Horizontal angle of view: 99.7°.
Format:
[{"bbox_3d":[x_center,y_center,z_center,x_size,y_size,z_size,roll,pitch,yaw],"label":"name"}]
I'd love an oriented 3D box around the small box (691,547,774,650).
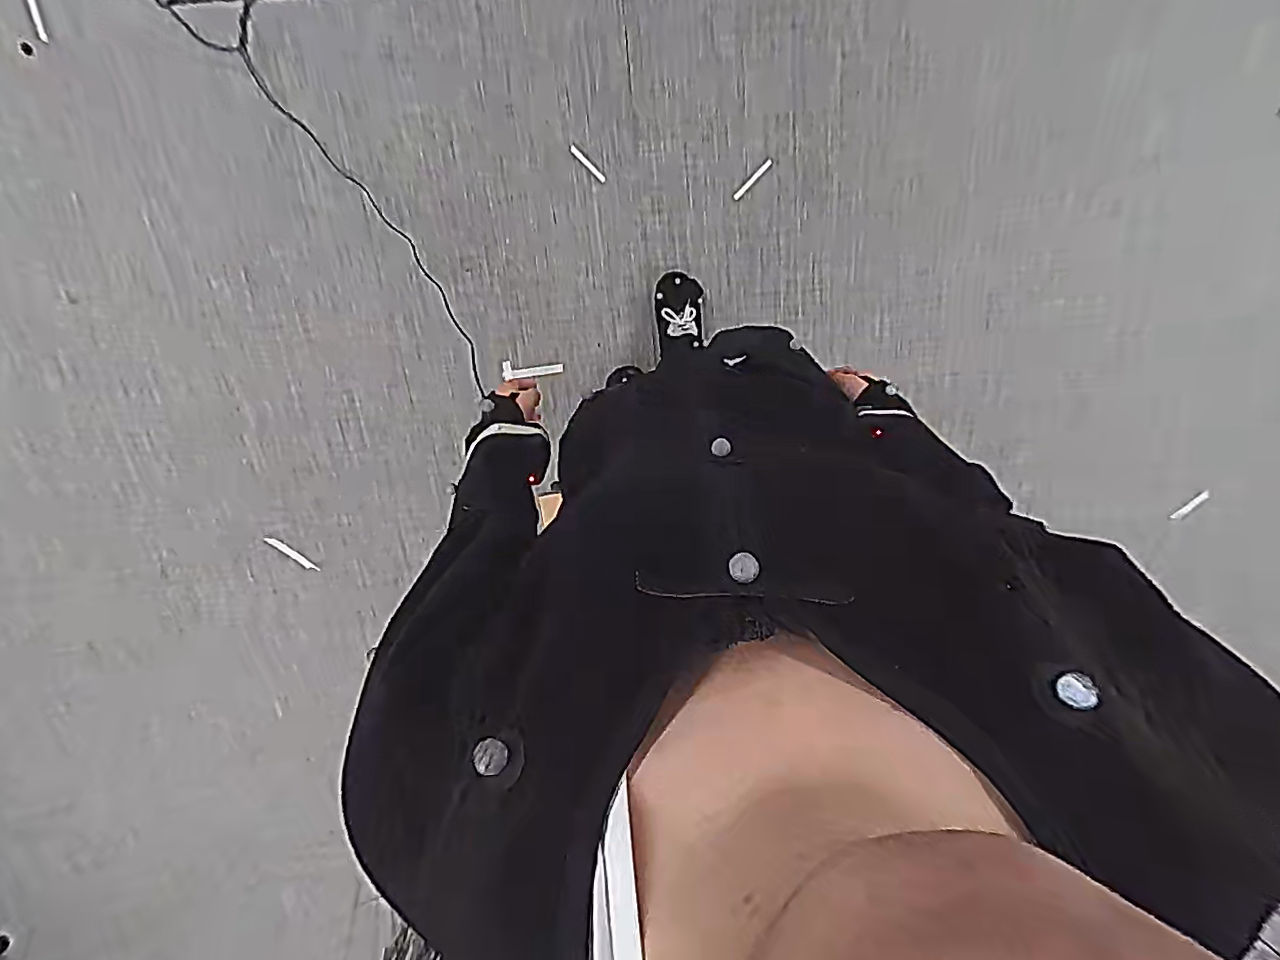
[{"bbox_3d":[0.224,0.288,1.334,0.168,0.176,0.179,-10,107,1],"label":"small box"}]
